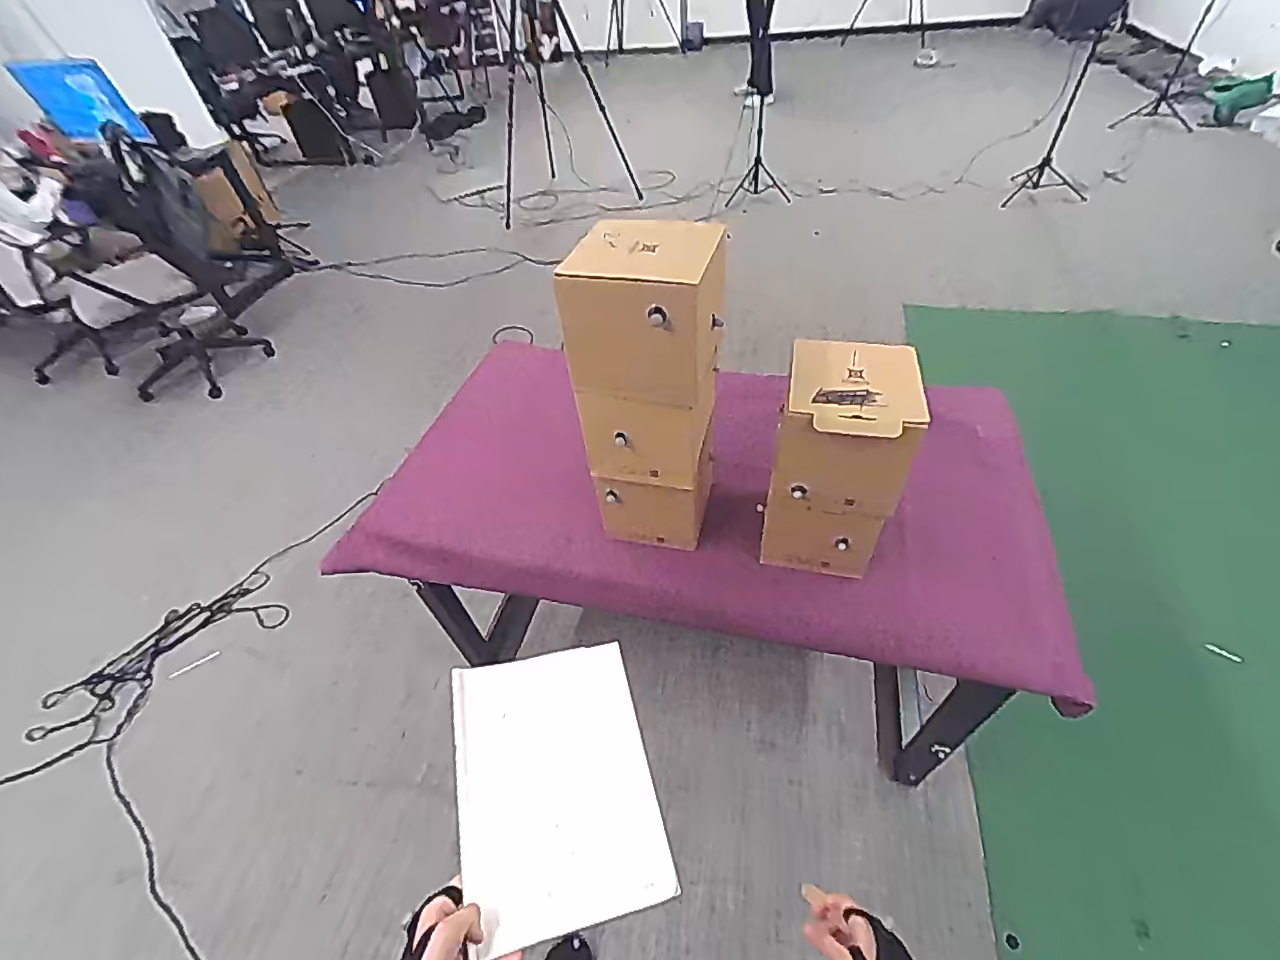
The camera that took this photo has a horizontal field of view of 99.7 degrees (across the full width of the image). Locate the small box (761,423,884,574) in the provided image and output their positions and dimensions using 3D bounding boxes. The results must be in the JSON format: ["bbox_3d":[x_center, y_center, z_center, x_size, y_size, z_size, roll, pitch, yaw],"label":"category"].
[{"bbox_3d":[0.296,0.032,0.891,0.168,0.176,0.179,9,47,13],"label":"small box"}]

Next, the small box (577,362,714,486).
[{"bbox_3d":[0.020,-0.112,0.831,0.168,0.176,0.179,8,47,14],"label":"small box"}]

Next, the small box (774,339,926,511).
[{"bbox_3d":[0.288,-0.078,0.769,0.168,0.176,0.179,8,47,12],"label":"small box"}]

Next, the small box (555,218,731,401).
[{"bbox_3d":[0.014,-0.221,0.706,0.179,0.176,0.168,10,47,16],"label":"small box"}]
